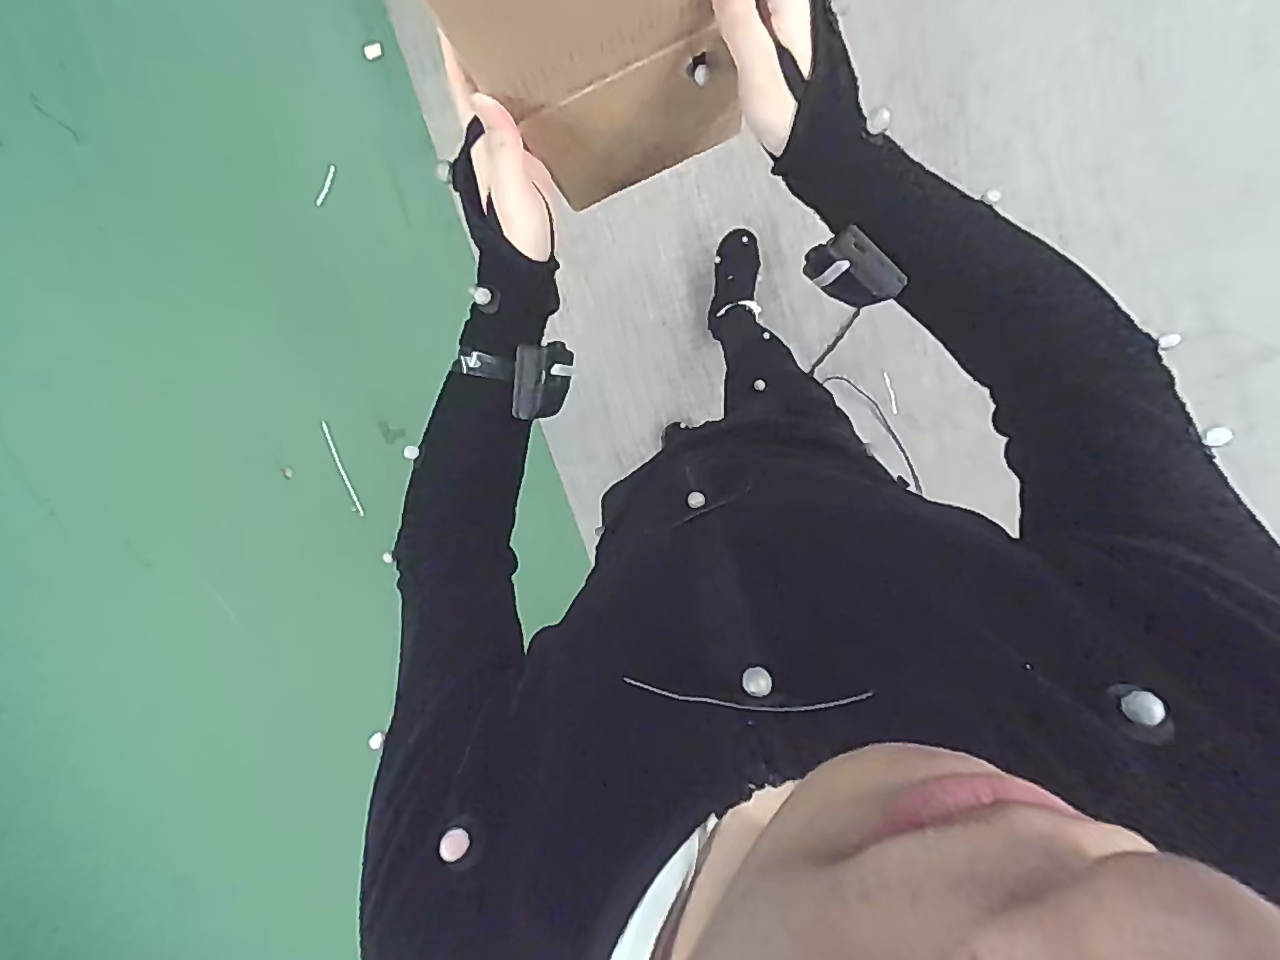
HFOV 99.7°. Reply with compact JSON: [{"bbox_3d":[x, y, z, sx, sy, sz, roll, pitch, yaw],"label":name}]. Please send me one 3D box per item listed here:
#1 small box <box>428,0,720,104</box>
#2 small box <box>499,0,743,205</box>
[{"bbox_3d":[-0.050,-0.330,0.256,0.179,0.176,0.168,-21,95,6],"label":"small box"},{"bbox_3d":[-0.029,-0.353,0.424,0.179,0.176,0.168,-21,93,8],"label":"small box"}]
